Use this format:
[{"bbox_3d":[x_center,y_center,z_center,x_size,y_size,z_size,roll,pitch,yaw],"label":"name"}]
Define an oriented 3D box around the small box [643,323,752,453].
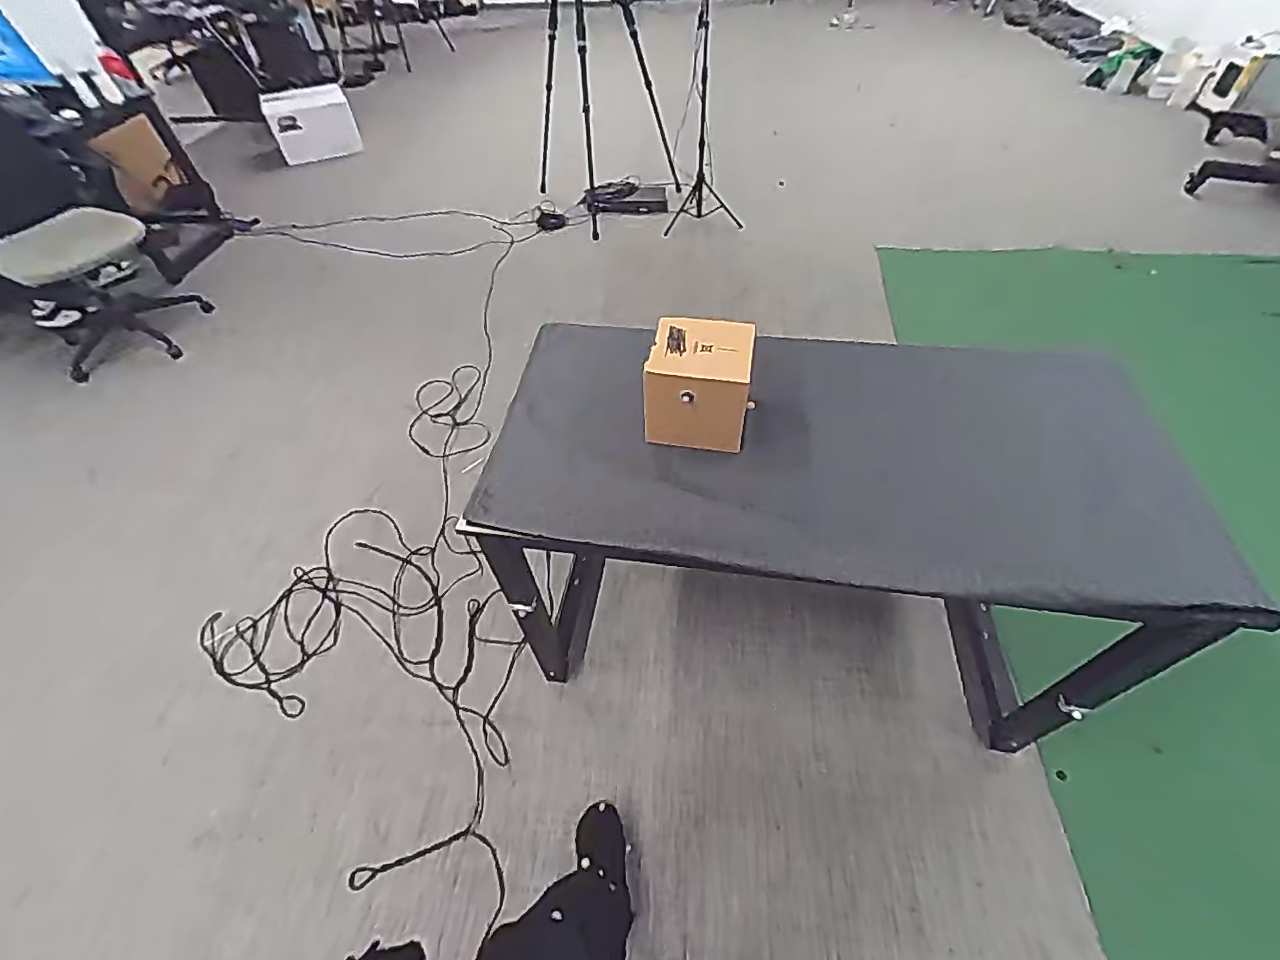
[{"bbox_3d":[0.106,-0.169,1.004,0.179,0.176,0.168,8,50,8],"label":"small box"}]
